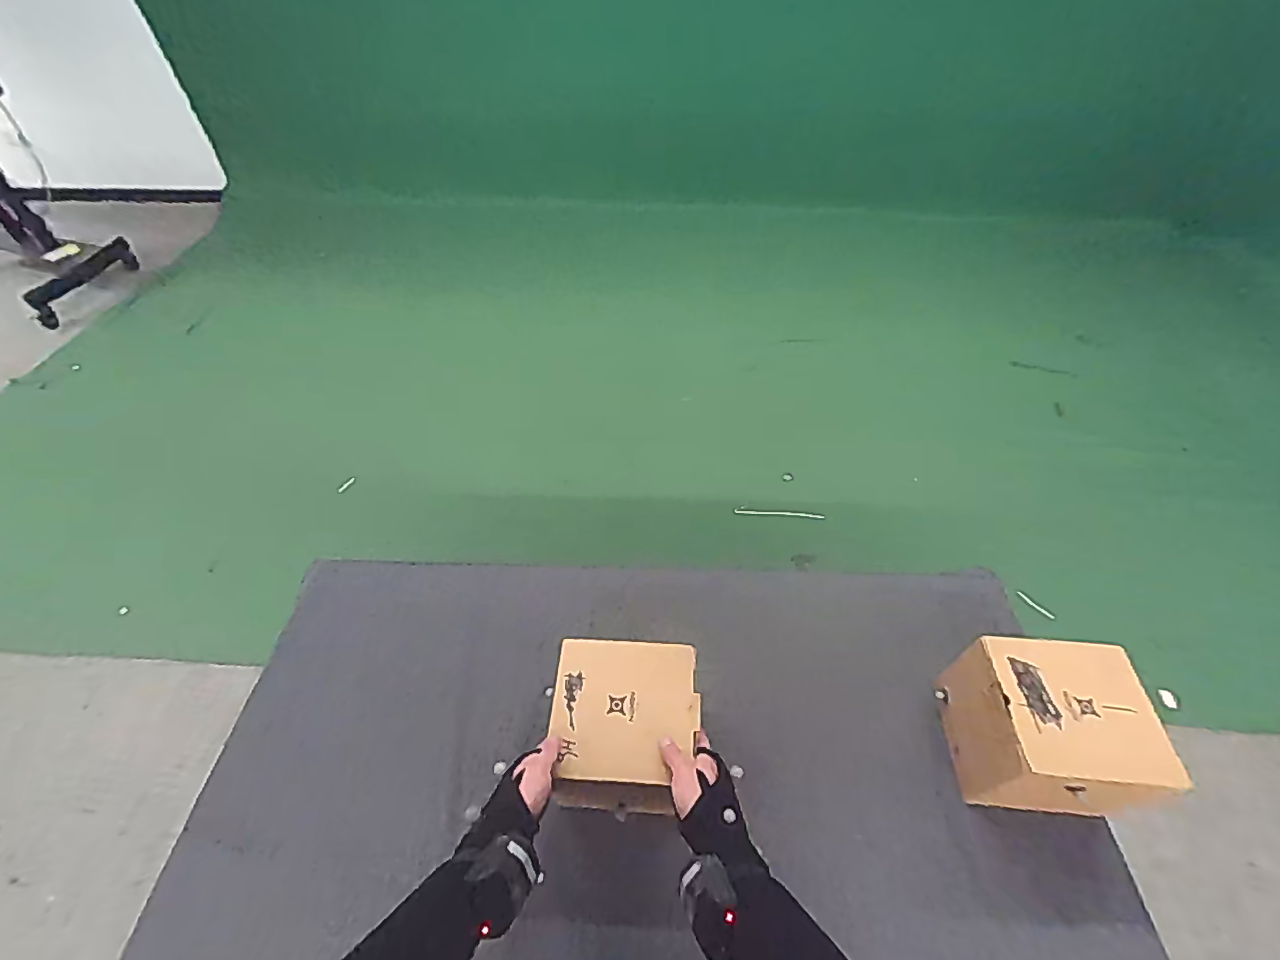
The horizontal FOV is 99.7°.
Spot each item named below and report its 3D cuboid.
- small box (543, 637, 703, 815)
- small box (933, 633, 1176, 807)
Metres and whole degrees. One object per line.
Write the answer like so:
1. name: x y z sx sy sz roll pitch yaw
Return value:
1. small box: -0.020 0.320 0.695 0.179 0.176 0.168 4 49 -1
2. small box: 0.520 0.321 0.719 0.179 0.176 0.168 5 49 0
